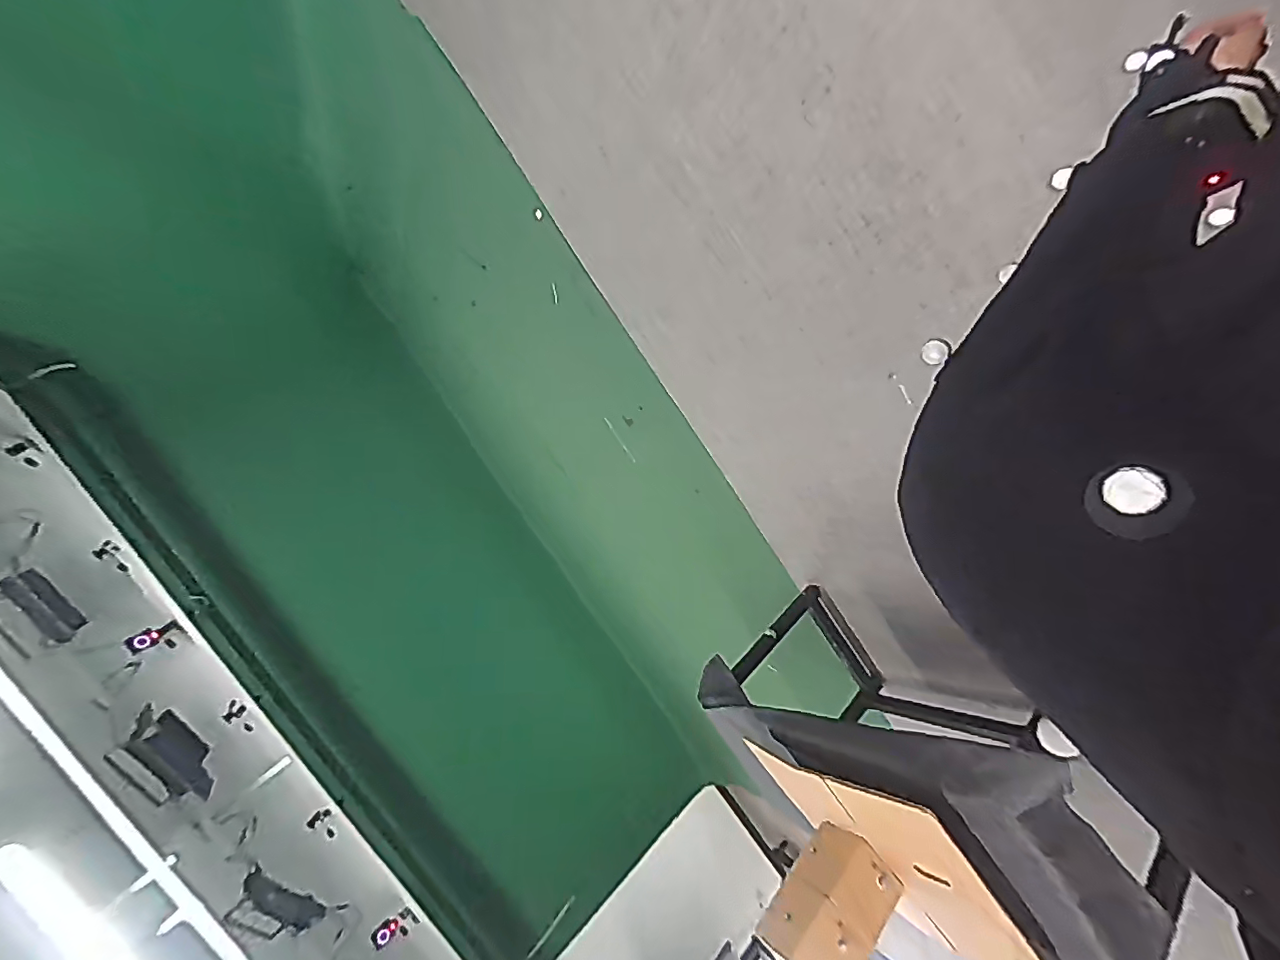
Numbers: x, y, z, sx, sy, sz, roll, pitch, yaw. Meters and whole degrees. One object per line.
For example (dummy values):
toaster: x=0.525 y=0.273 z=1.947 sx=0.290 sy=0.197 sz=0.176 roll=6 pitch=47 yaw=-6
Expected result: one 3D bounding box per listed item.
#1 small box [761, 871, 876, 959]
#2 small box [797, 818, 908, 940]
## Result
small box: x=0.445 y=1.127 z=1.346 sx=0.168 sy=0.176 sz=0.179 roll=47 pitch=155 yaw=2
small box: x=0.556 y=1.027 z=1.414 sx=0.168 sy=0.176 sz=0.179 roll=48 pitch=154 yaw=1
